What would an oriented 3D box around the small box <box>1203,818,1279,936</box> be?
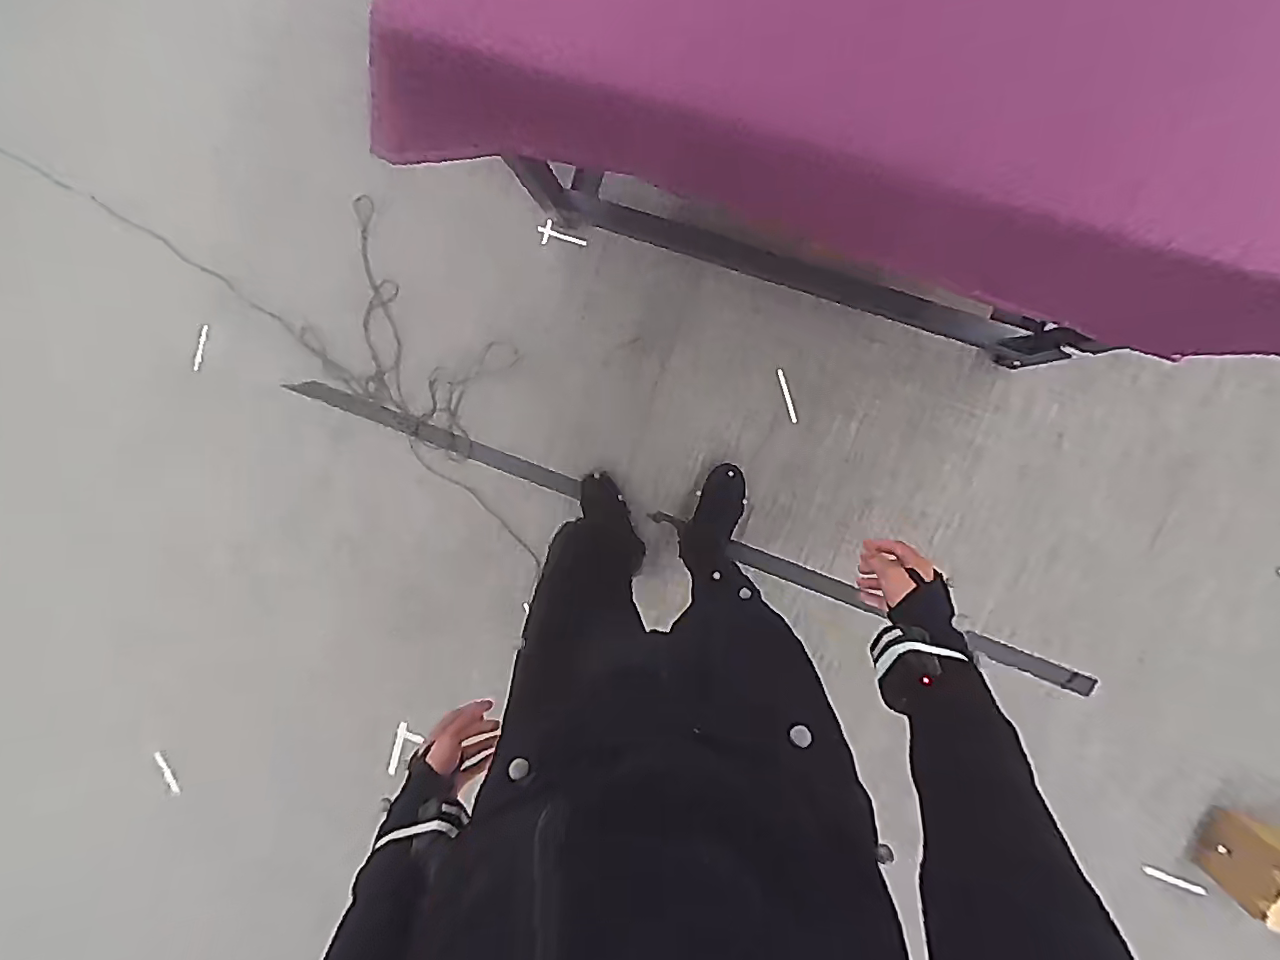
[{"bbox_3d":[1.464,0.911,1.223,0.179,0.176,0.168,17,98,7],"label":"small box"}]
